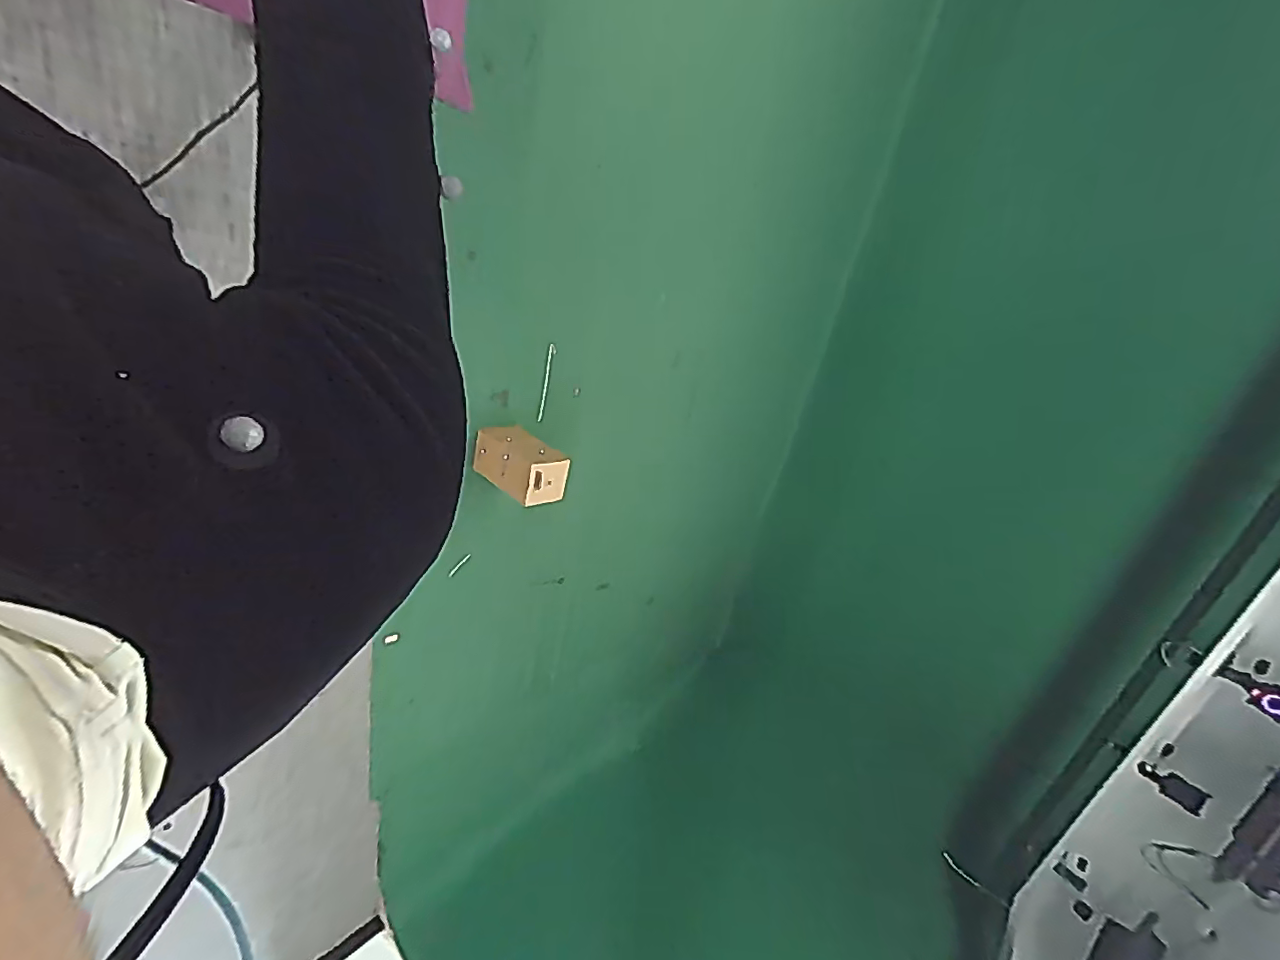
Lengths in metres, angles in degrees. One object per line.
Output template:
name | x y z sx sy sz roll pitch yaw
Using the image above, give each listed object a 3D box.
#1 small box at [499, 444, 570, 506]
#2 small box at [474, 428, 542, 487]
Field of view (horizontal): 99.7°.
small box | -0.387 -0.024 1.959 0.179 0.176 0.168 -10 123 -49
small box | -0.503 -0.093 2.051 0.179 0.176 0.168 -11 124 -47
